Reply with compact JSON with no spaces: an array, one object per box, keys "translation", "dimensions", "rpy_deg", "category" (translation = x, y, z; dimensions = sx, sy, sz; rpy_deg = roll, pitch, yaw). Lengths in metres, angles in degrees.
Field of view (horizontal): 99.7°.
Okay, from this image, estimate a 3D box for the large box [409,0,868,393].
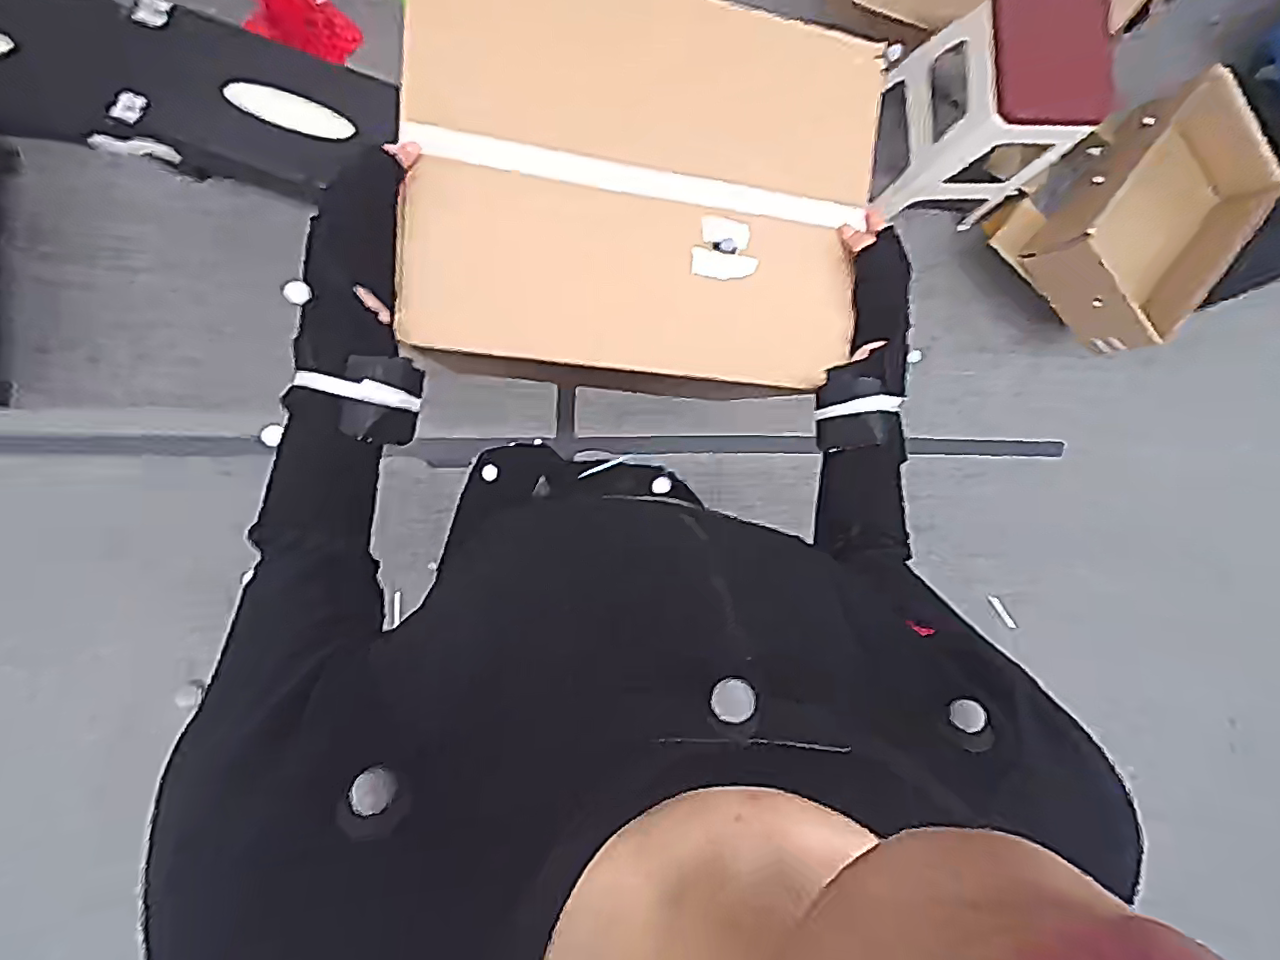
[{"translation":[-0.024,-0.276,0.621],"dimensions":[0.408,0.320,0.320],"rpy_deg":[4,97,-14],"category":"large box"}]
